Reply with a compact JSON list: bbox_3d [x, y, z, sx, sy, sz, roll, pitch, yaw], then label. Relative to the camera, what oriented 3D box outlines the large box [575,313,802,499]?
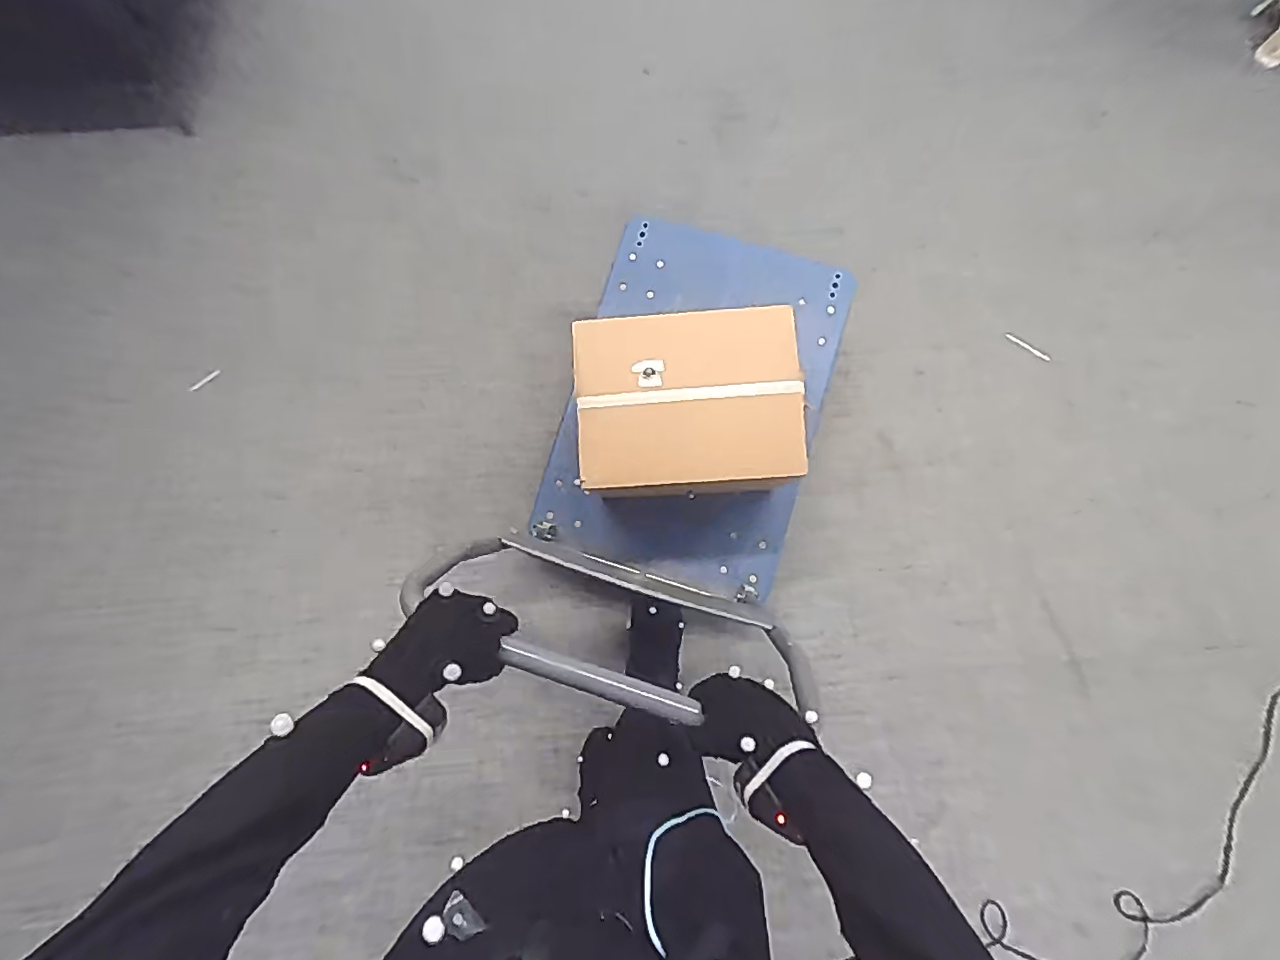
[{"bbox_3d":[0.094,-0.130,1.133,0.408,0.320,0.320,-3,84,3],"label":"large box"}]
